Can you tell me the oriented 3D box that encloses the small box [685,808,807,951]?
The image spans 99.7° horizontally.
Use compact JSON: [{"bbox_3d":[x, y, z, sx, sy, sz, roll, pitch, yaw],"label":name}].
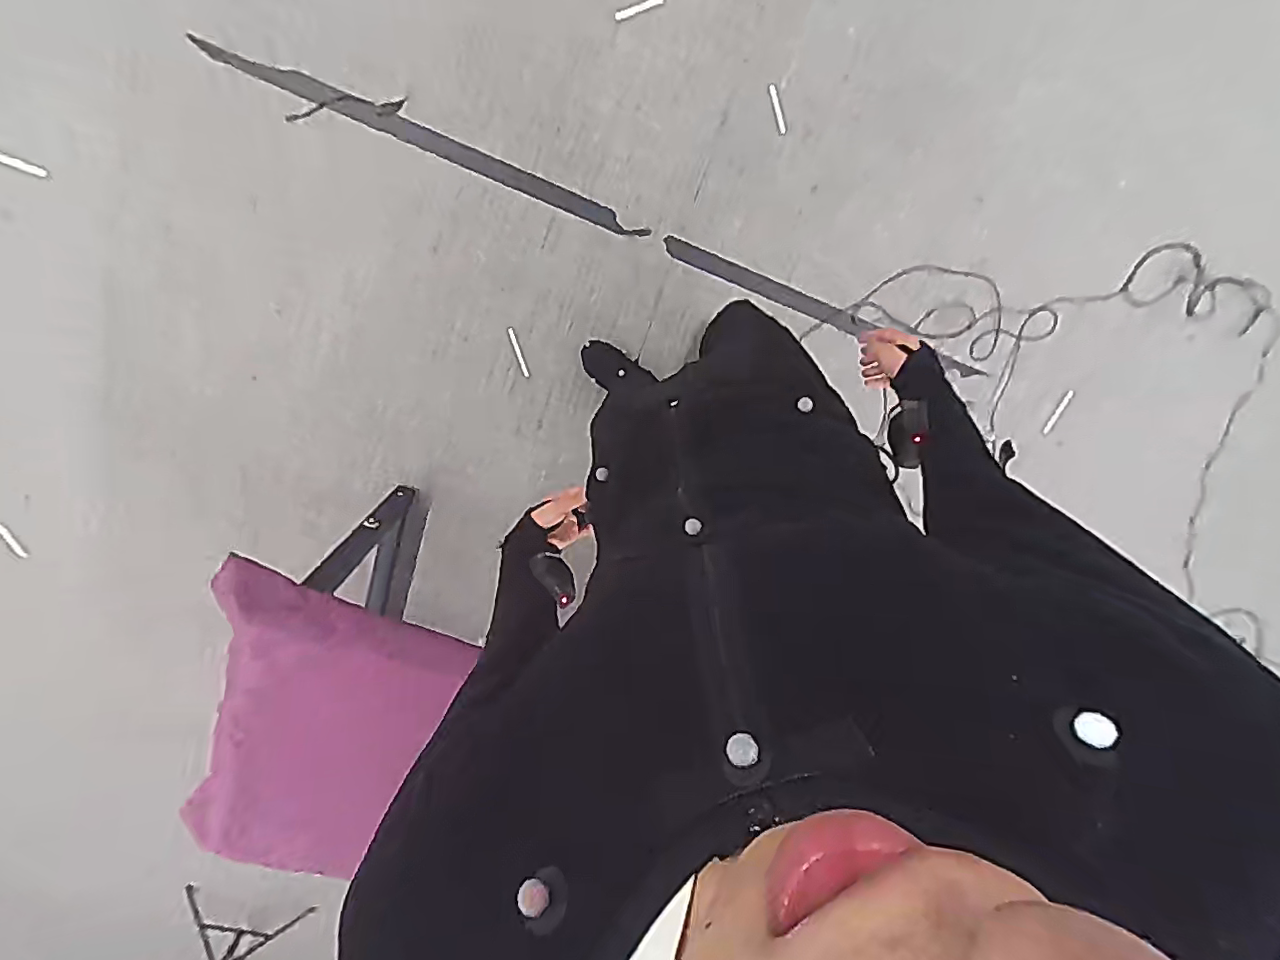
[{"bbox_3d":[0.209,0.821,1.123,0.179,0.176,0.168,21,109,-10],"label":"small box"}]
